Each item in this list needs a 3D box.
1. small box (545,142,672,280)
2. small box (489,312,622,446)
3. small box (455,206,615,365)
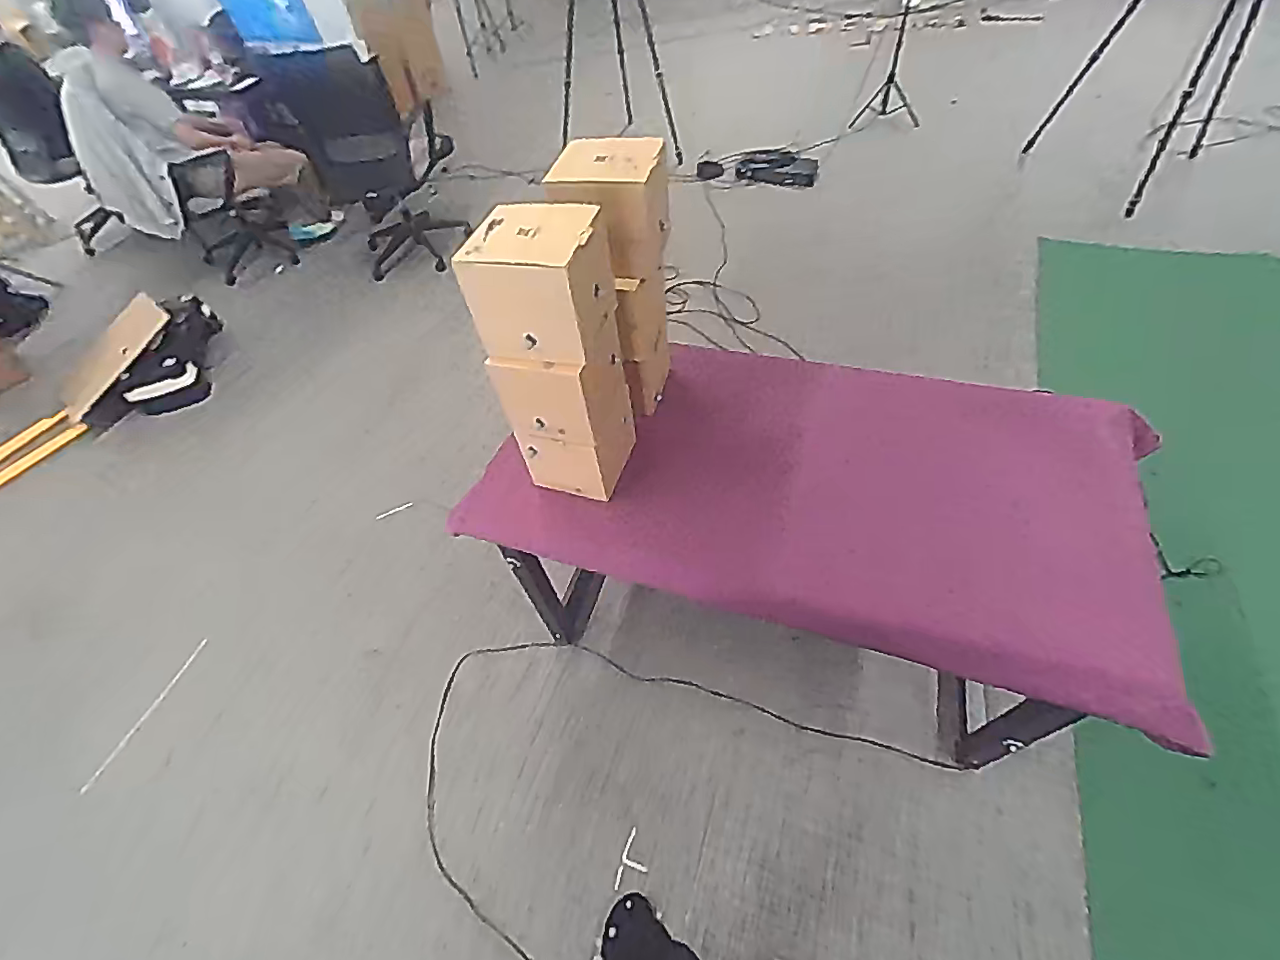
[{"bbox_3d":[-0.045,-0.476,0.964,0.179,0.176,0.168,8,54,12],"label":"small box"},{"bbox_3d":[-0.136,-0.188,0.958,0.168,0.176,0.179,10,54,15],"label":"small box"},{"bbox_3d":[-0.146,-0.298,0.838,0.179,0.176,0.168,9,53,14],"label":"small box"}]
